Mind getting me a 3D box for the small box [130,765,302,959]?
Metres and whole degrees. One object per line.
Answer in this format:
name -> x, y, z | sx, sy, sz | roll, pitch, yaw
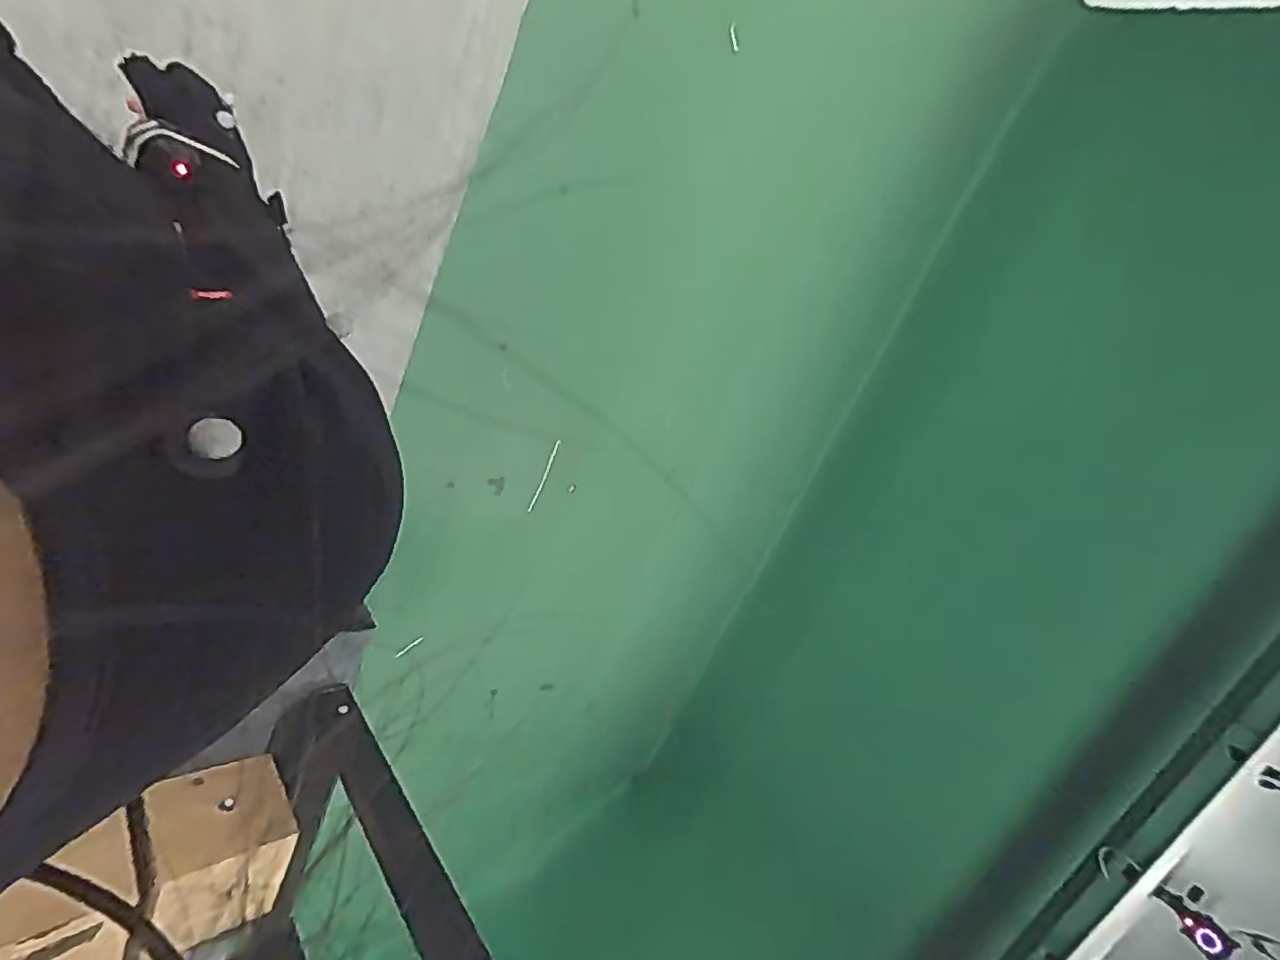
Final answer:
small box -> -0.659, 0.576, 0.837 | 0.168, 0.176, 0.179 | 10, 111, -51
